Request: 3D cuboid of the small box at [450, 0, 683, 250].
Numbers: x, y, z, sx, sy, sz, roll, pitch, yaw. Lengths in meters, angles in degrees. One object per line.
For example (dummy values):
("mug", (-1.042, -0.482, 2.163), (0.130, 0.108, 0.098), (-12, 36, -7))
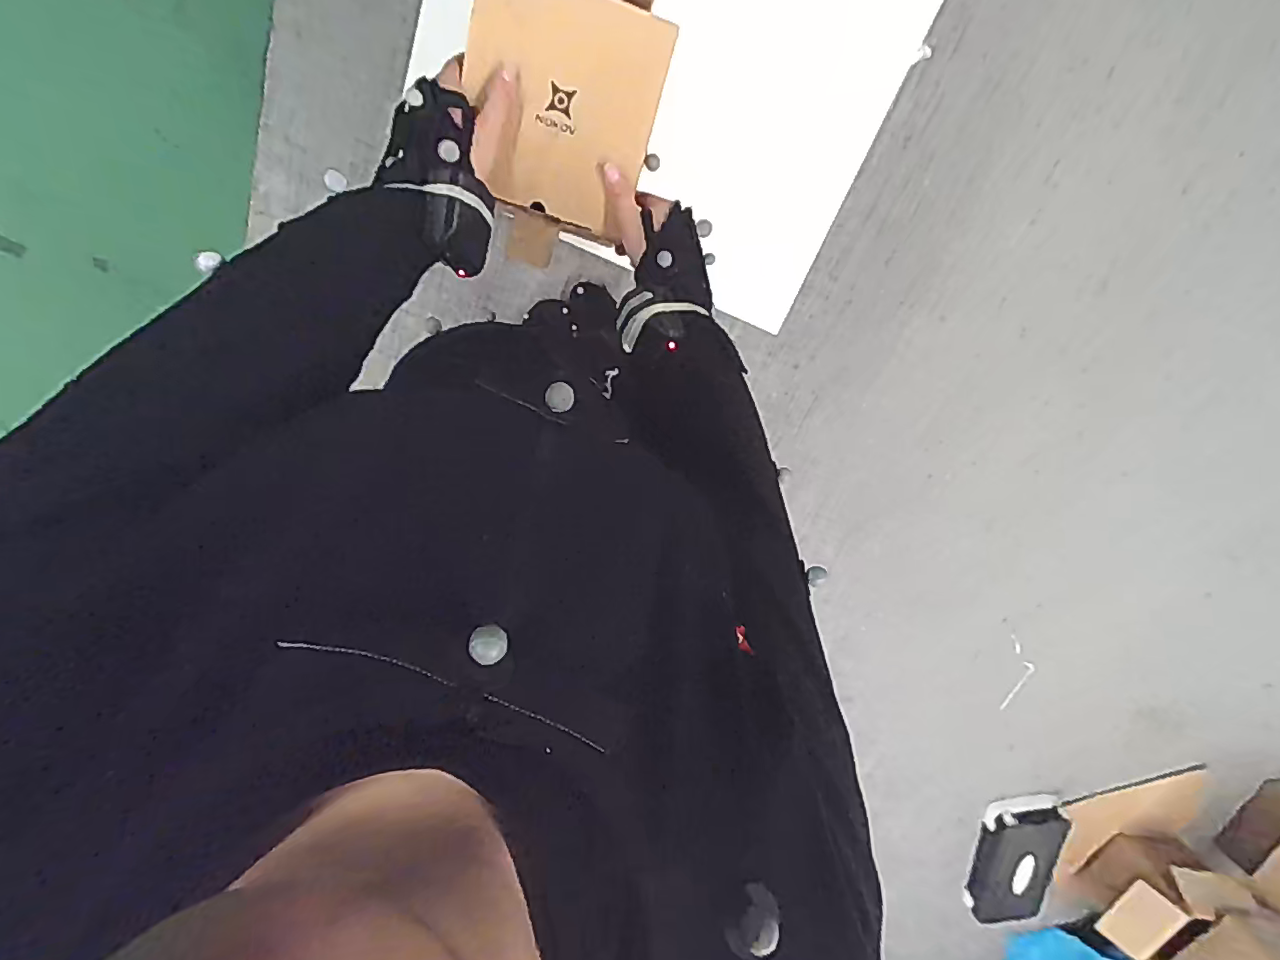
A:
("small box", (-0.076, -0.344, 0.536), (0.168, 0.176, 0.179), (14, 110, -14))
